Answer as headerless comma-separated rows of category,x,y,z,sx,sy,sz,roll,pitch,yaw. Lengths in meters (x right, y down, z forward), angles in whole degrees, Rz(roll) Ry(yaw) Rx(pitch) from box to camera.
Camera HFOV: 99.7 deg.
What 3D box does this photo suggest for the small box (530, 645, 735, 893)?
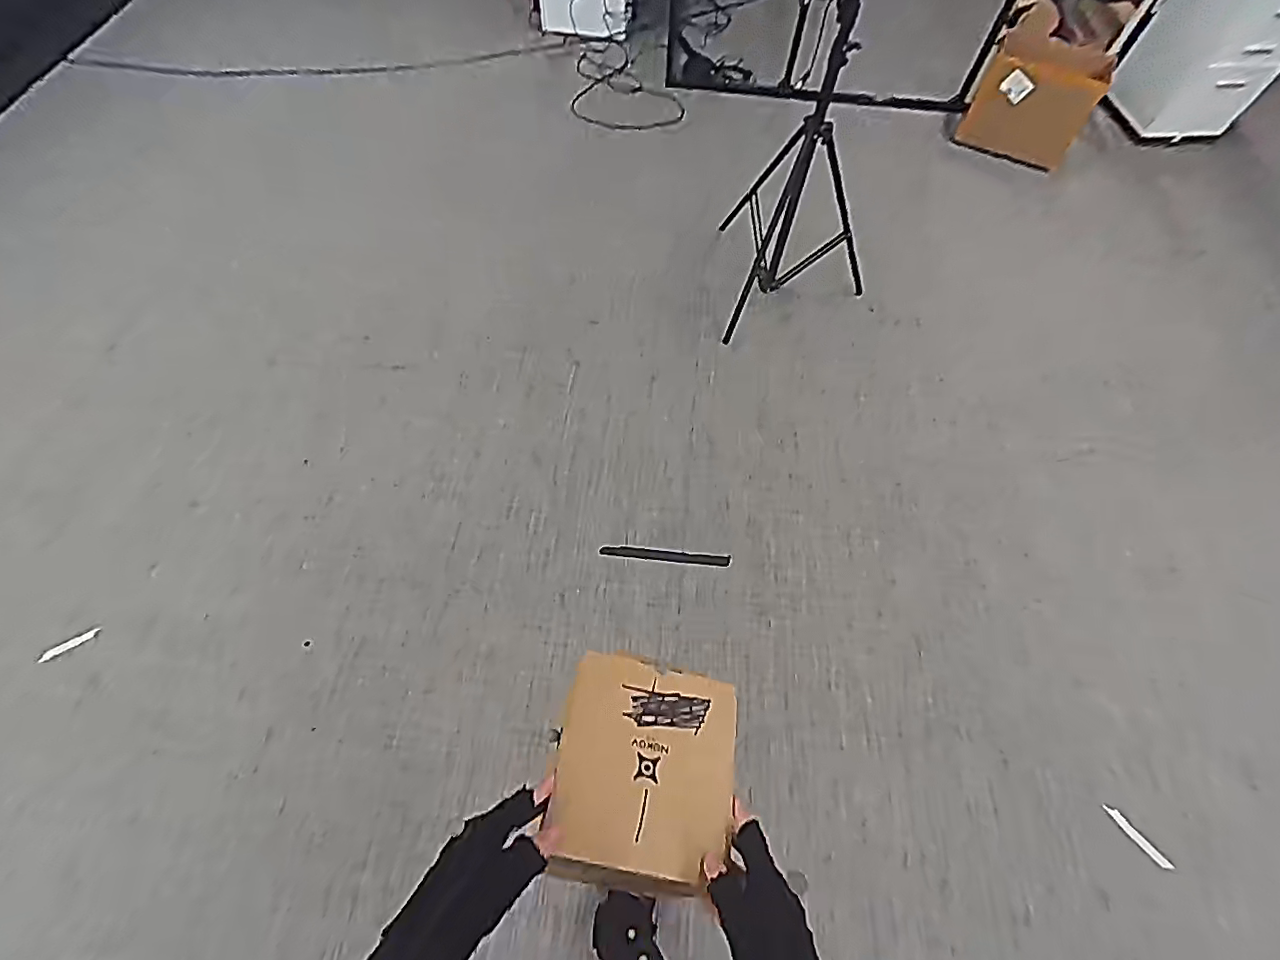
small box,-0.010,0.302,0.561,0.168,0.176,0.179,15,49,-4
